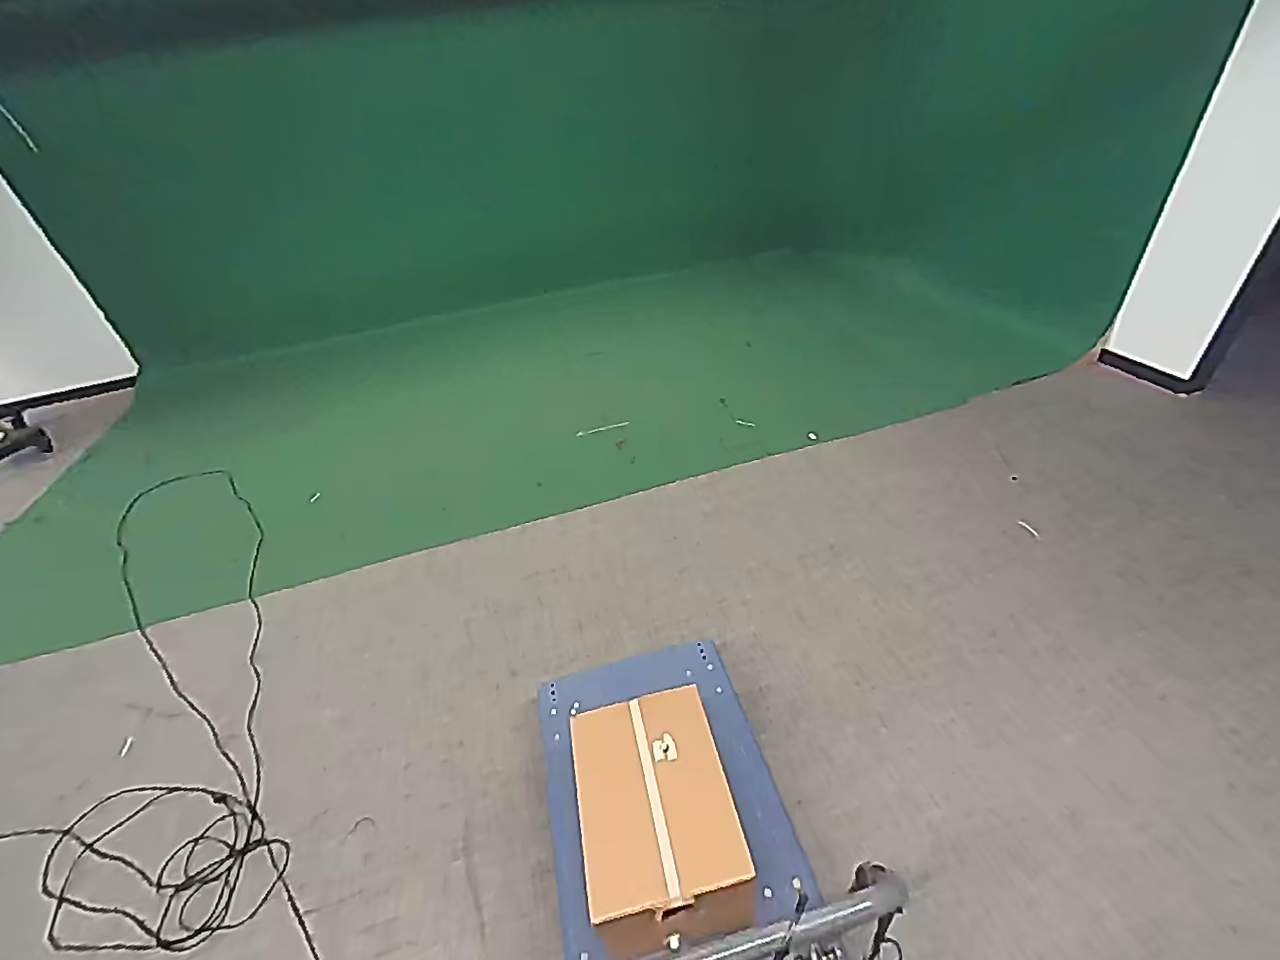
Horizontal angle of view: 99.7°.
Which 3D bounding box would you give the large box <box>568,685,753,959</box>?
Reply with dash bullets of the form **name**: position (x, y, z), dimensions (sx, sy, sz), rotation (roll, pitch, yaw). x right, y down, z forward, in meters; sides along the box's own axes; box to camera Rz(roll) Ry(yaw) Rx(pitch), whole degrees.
- **large box**: position (0.038, 0.753, 1.212), dimensions (0.320, 0.320, 0.408), rotation (-12, 37, -6)
